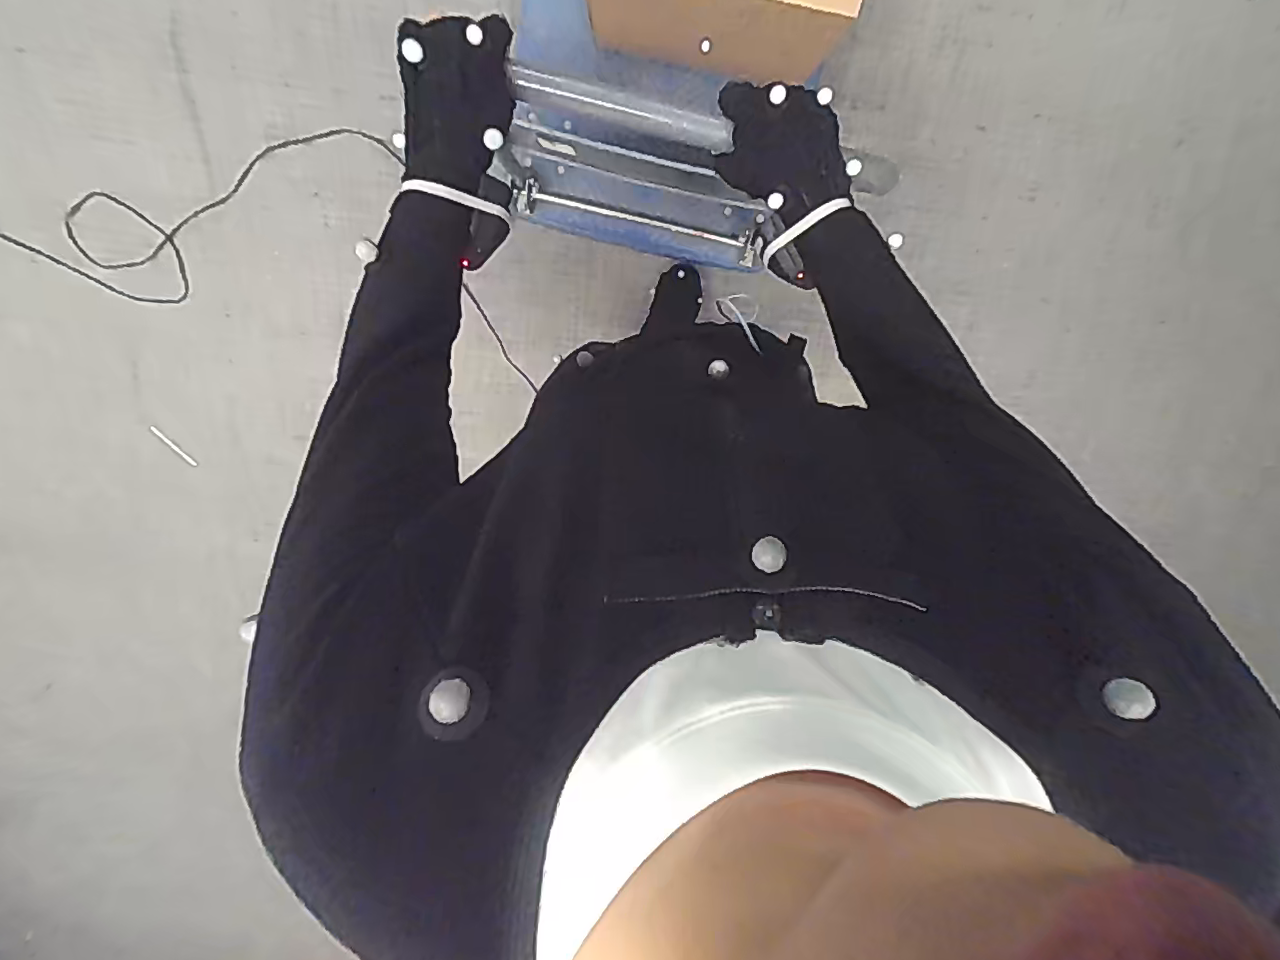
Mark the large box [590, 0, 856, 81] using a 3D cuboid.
[{"bbox_3d":[0.140,-0.895,0.864,0.408,0.320,0.320,9,110,-2],"label":"large box"}]
